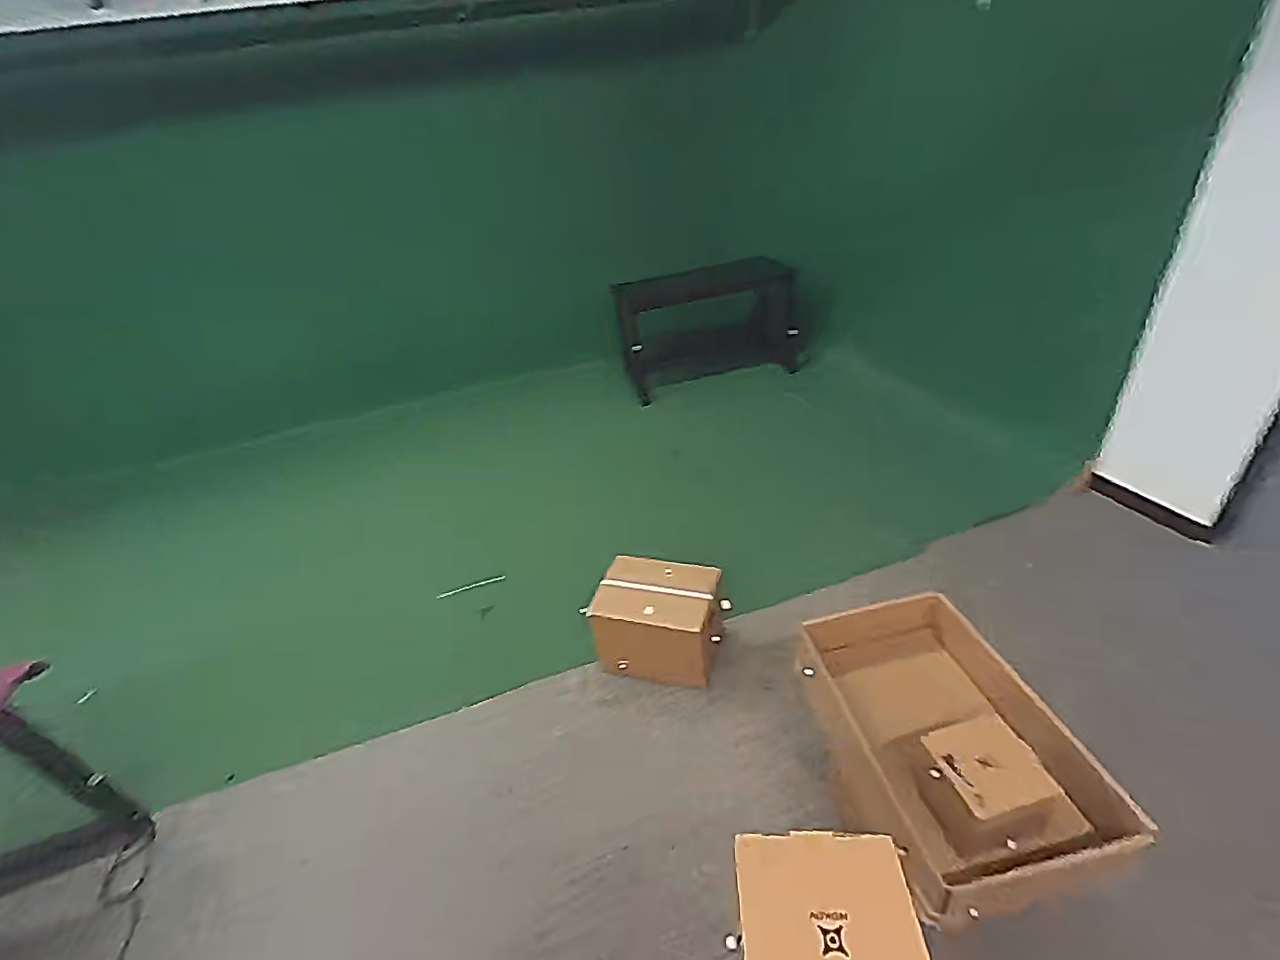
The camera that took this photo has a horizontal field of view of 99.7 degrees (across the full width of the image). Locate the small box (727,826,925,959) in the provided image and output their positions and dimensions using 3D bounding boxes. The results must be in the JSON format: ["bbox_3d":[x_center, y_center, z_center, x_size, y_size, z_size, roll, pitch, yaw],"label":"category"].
[{"bbox_3d":[0.178,0.485,0.546,0.168,0.176,0.179,-2,34,4],"label":"small box"}]
